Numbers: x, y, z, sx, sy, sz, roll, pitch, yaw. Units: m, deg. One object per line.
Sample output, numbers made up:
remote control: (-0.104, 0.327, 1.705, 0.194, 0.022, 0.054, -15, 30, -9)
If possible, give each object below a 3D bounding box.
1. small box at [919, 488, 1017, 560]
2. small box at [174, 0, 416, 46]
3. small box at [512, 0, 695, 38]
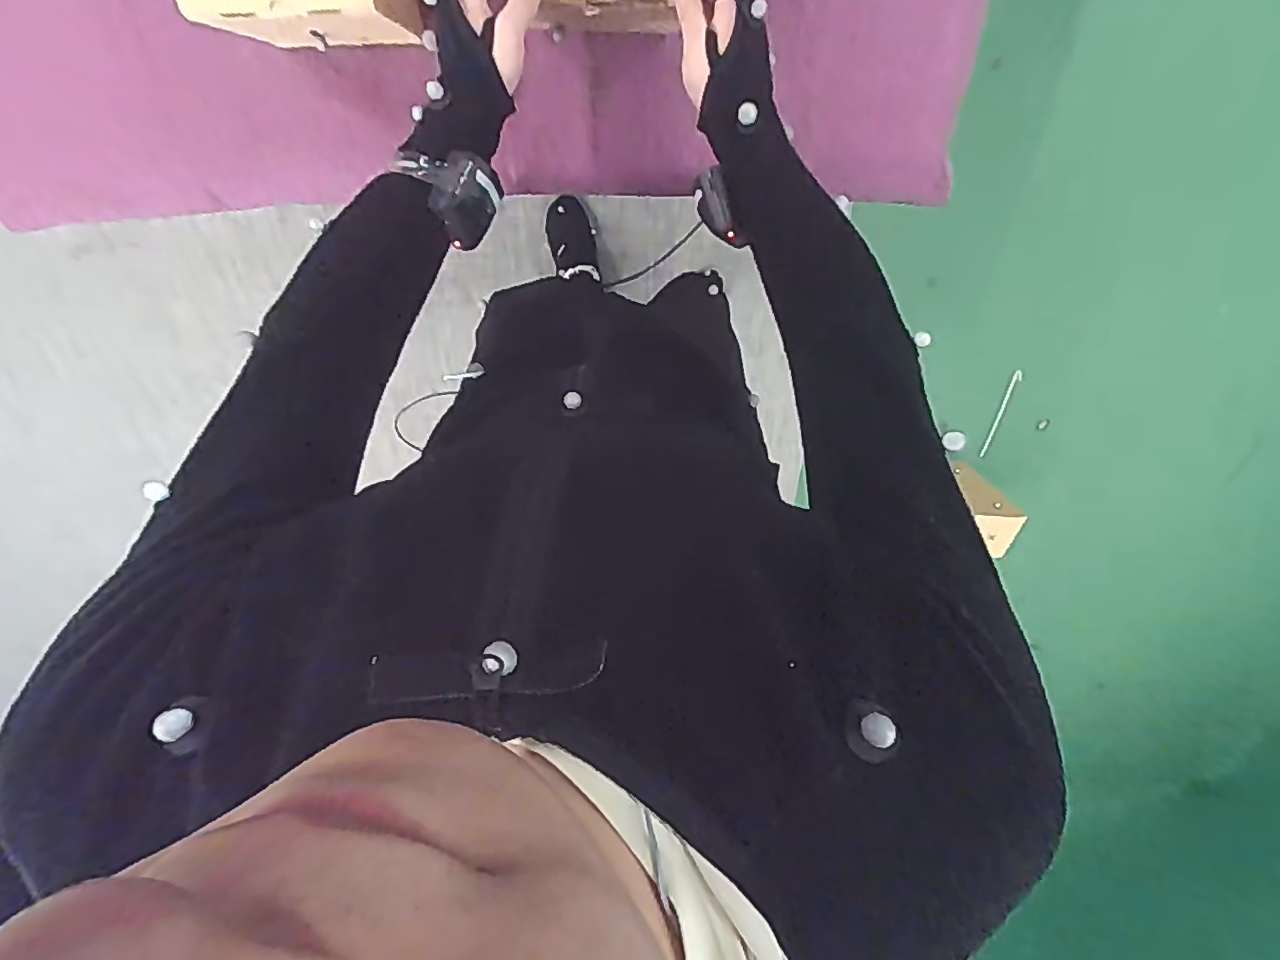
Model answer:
small box: (1.043, 0.139, 1.737, 0.179, 0.176, 0.168, 3, 122, -8)
small box: (-0.324, -0.517, 0.491, 0.168, 0.176, 0.179, -5, 124, -4)
small box: (-0.036, -0.531, 0.498, 0.168, 0.176, 0.179, -2, 122, -5)
